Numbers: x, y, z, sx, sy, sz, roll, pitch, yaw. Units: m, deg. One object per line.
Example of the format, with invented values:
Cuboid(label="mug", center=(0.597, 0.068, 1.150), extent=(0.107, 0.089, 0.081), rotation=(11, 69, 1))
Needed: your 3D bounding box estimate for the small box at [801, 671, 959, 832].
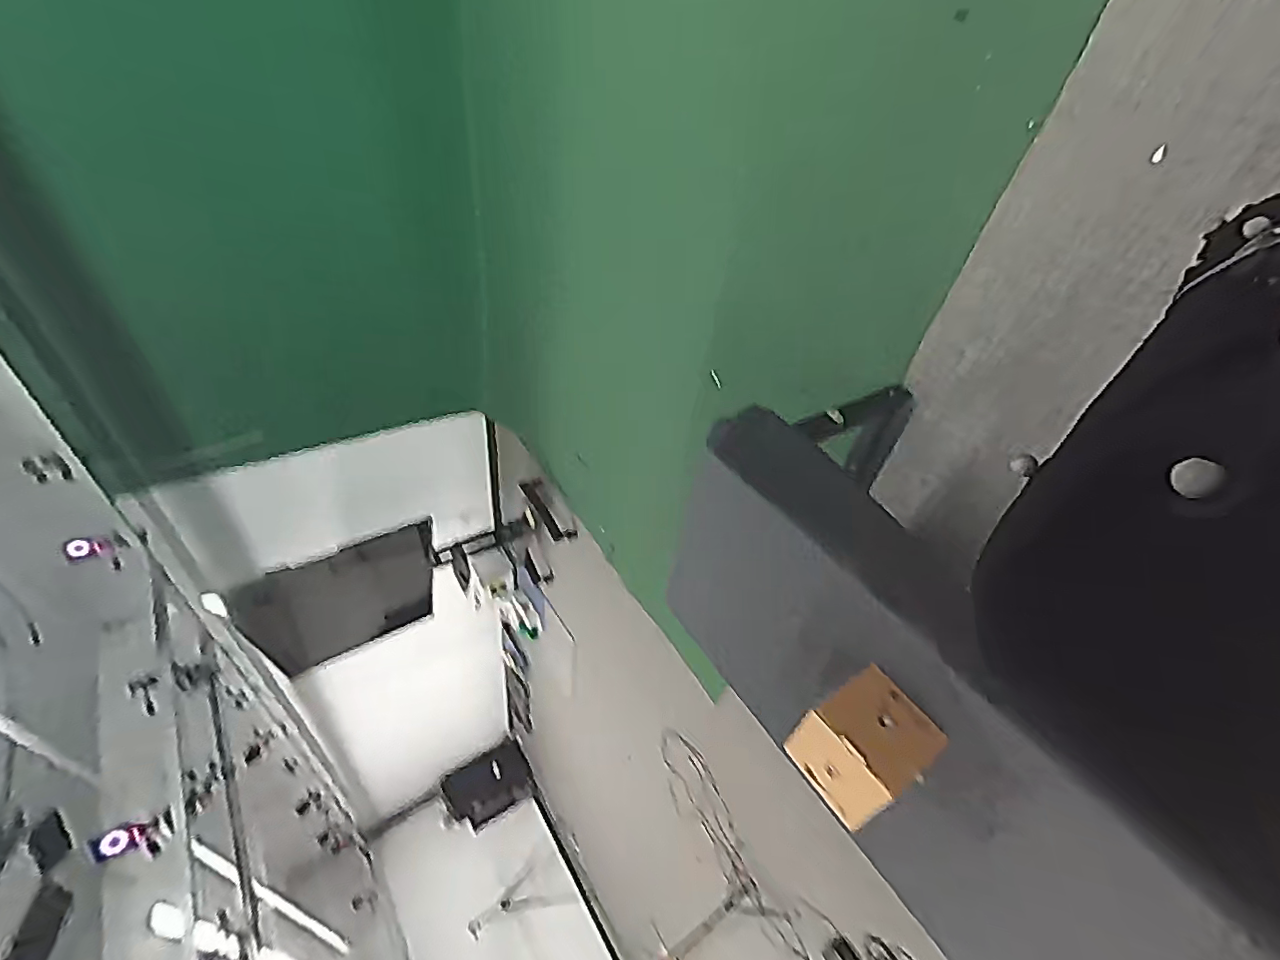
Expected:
Cuboid(label="small box", center=(0.427, 0.476, 0.964), extent=(0.168, 0.176, 0.179), rotation=(48, 145, 36))
